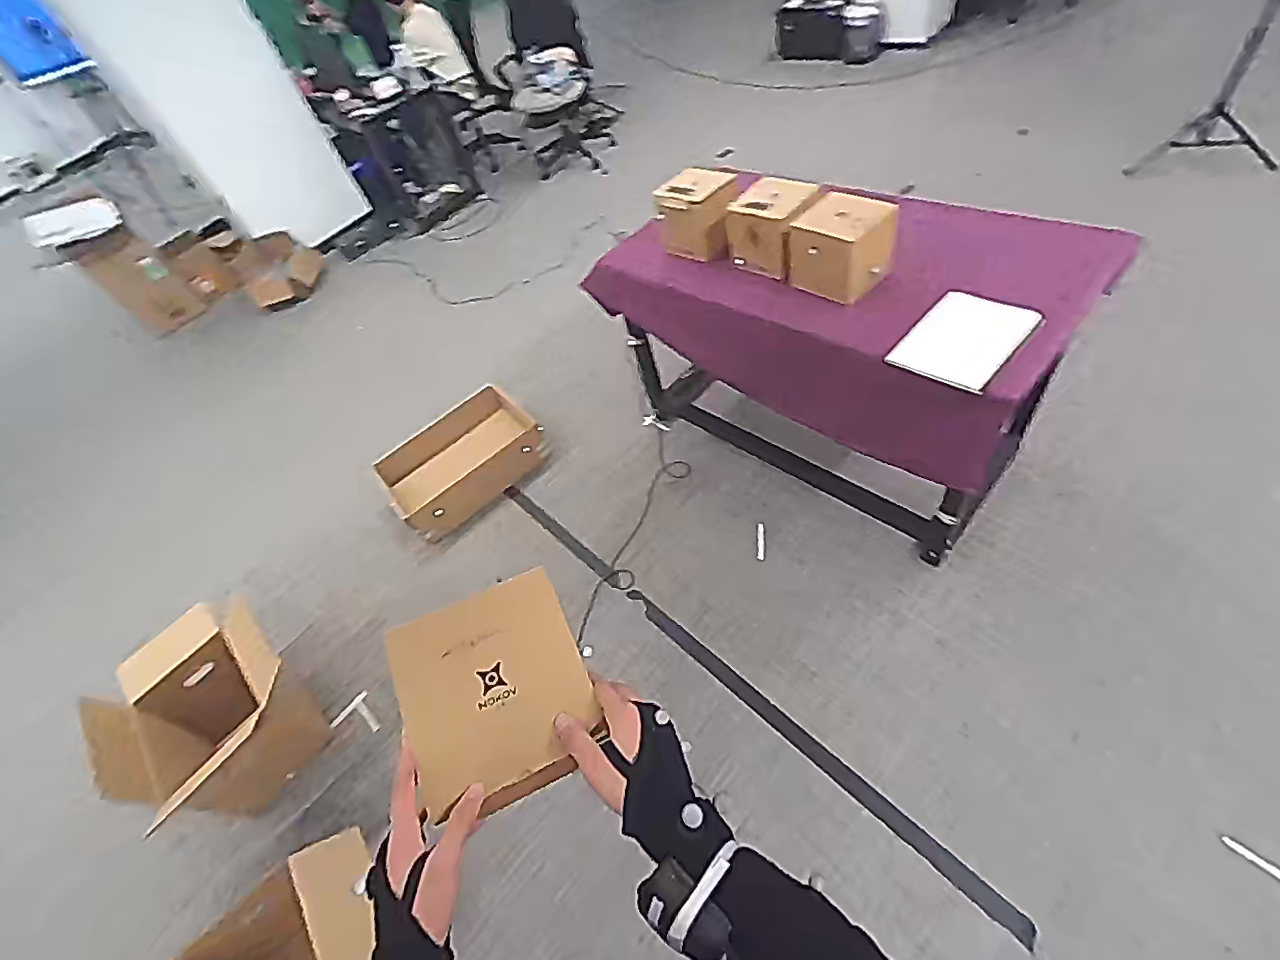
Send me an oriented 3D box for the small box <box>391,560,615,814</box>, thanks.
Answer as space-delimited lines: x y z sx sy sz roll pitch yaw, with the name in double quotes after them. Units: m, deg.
-0.131 0.211 0.567 0.168 0.176 0.179 -20 67 -13 "small box"
